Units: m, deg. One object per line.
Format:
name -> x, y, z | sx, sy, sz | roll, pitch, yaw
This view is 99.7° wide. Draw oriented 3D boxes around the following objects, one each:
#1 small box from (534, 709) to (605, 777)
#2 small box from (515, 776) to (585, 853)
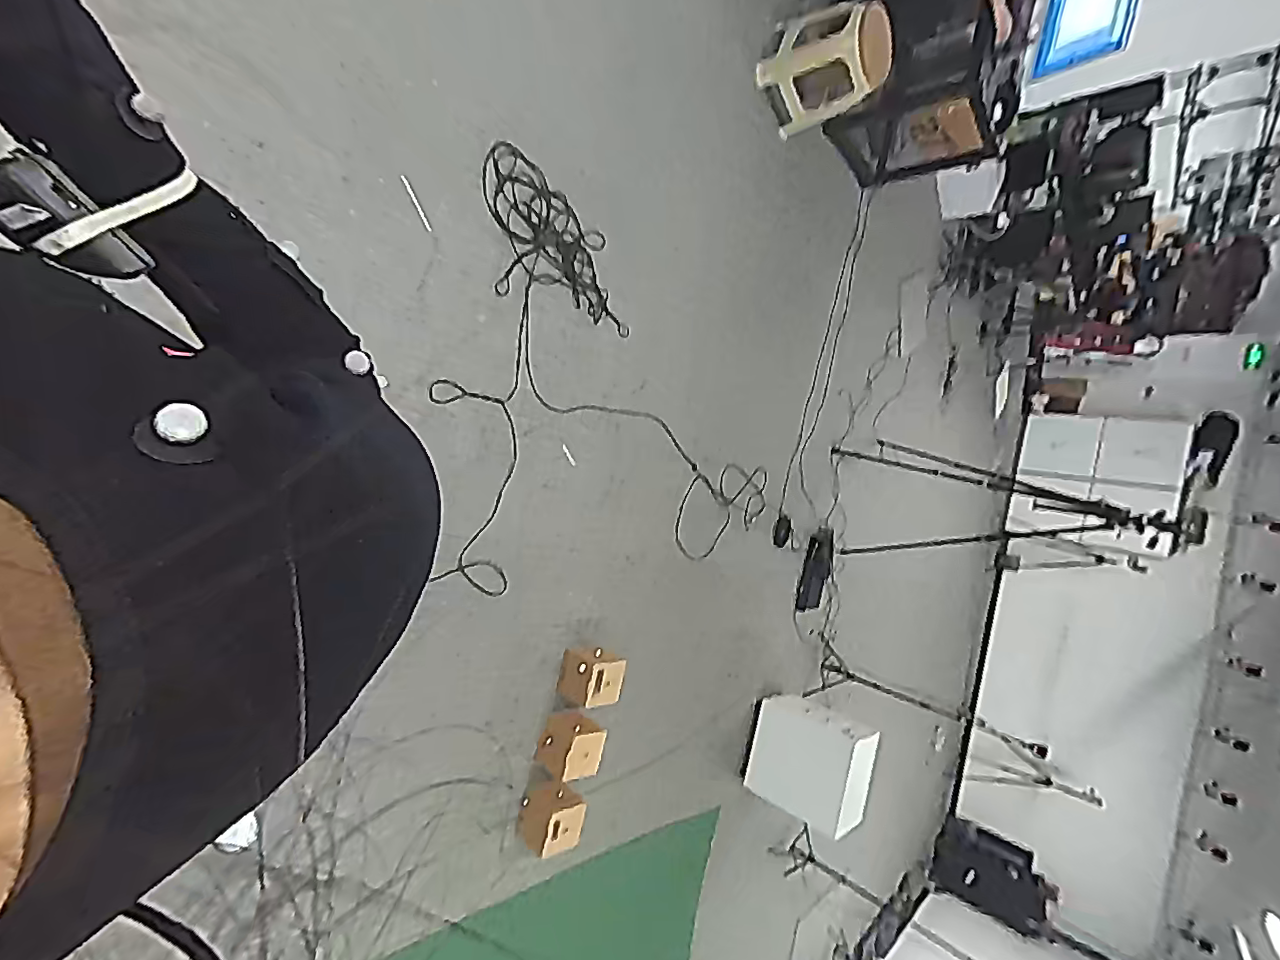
small box -> -0.268, 0.985, 2.043 | 0.179, 0.176, 0.168 | 18, 85, -47
small box -> -0.341, 1.243, 2.020 | 0.179, 0.176, 0.168 | 17, 86, -48
